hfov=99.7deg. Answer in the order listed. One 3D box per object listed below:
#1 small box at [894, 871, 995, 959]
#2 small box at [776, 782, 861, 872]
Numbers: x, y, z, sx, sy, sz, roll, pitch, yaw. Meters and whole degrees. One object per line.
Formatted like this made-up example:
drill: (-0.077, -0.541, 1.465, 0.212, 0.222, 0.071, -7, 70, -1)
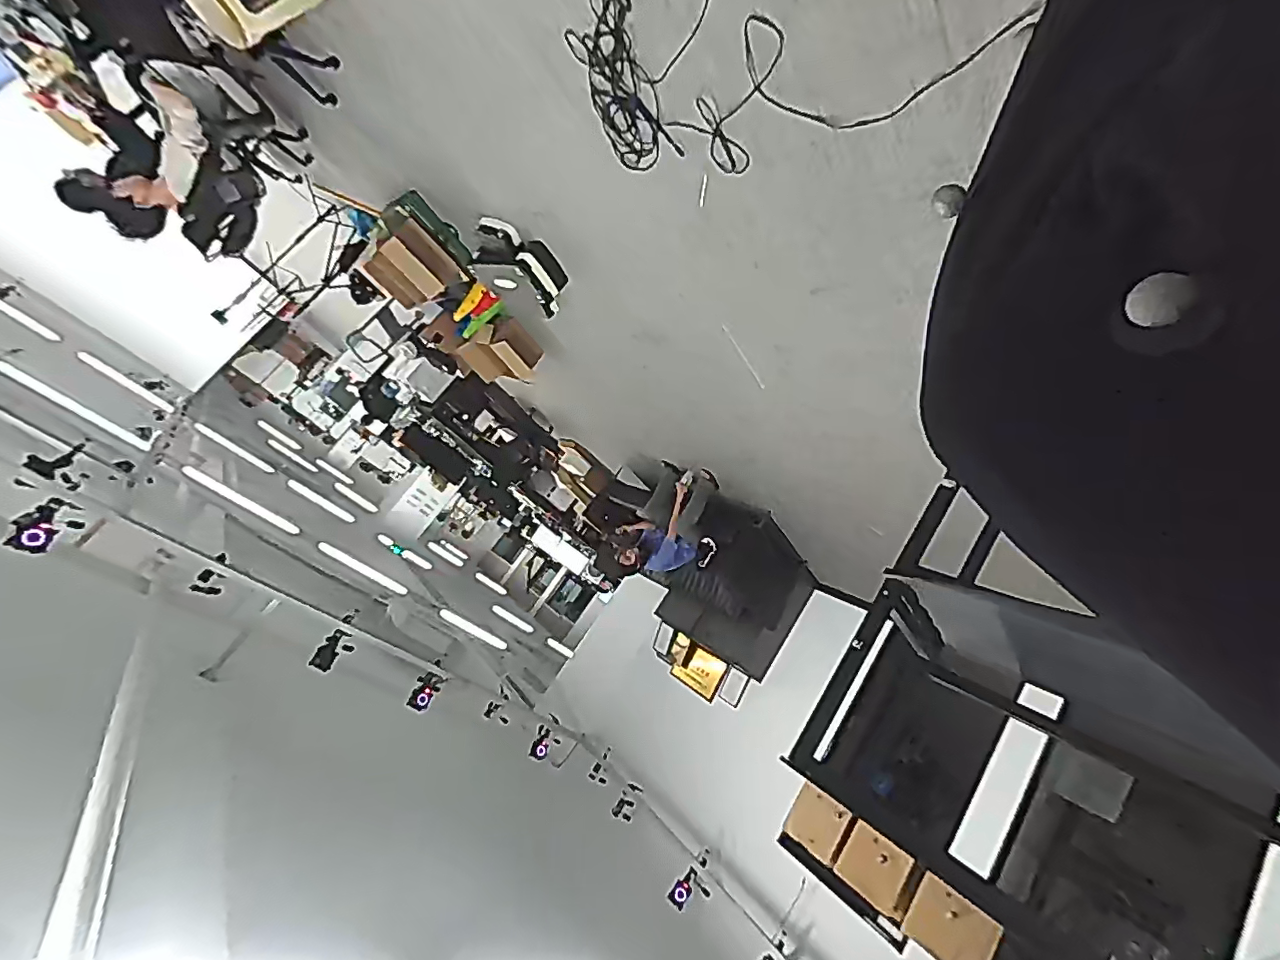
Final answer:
small box: (0.798, 1.166, 1.408, 0.168, 0.176, 0.179, 20, 159, 49)
small box: (0.564, 1.085, 1.699, 0.168, 0.176, 0.179, 20, 159, 48)
